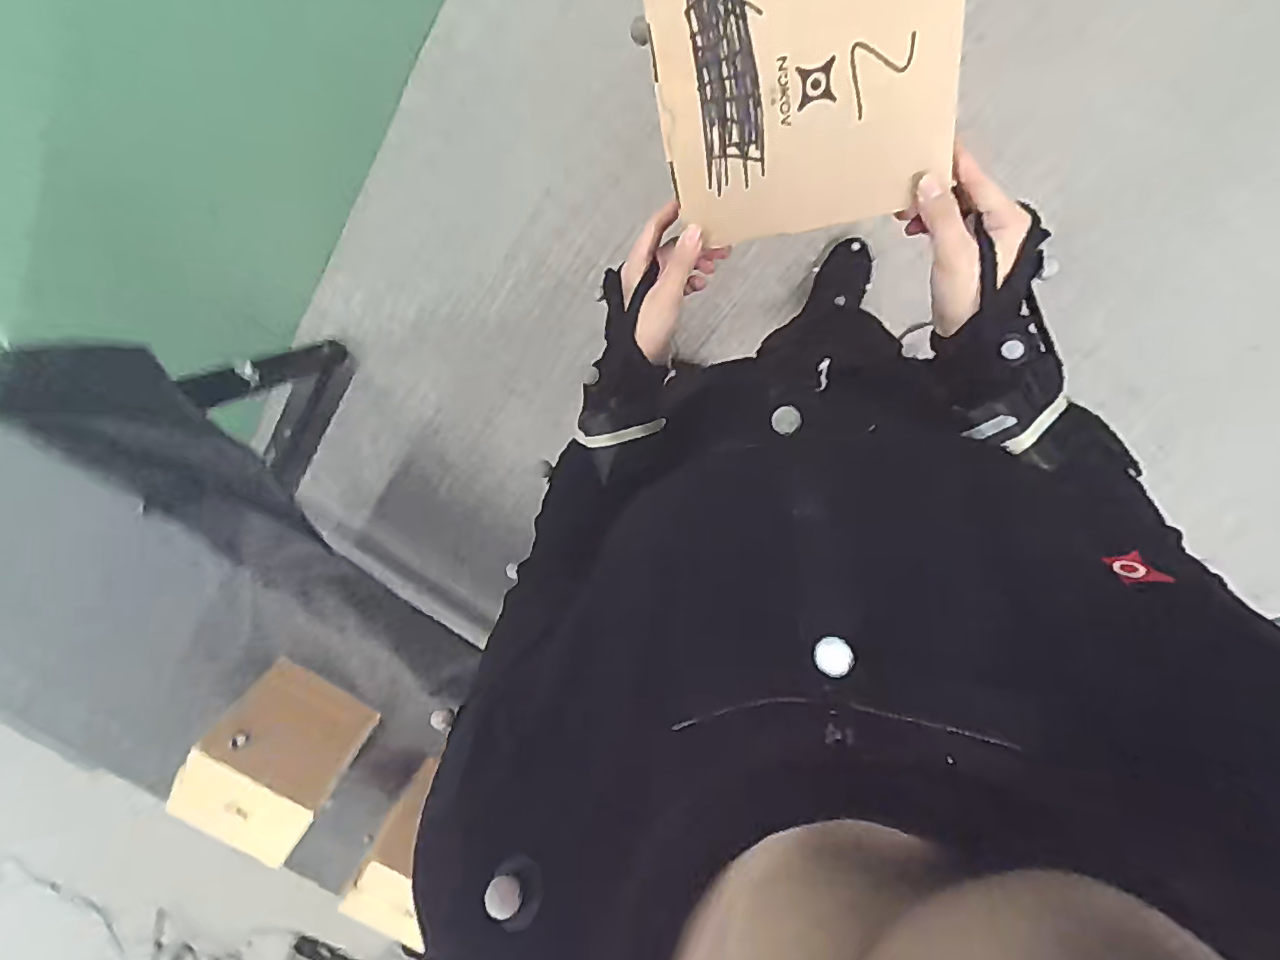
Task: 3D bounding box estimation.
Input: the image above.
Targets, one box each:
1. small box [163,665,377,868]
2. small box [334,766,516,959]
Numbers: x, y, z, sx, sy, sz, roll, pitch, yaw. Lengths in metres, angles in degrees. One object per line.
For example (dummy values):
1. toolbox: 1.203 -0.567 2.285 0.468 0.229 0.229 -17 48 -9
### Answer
1. small box: -0.525 0.408 0.789 0.179 0.176 0.168 35 113 -8
2. small box: -0.322 0.581 0.837 0.179 0.176 0.168 33 115 -8
